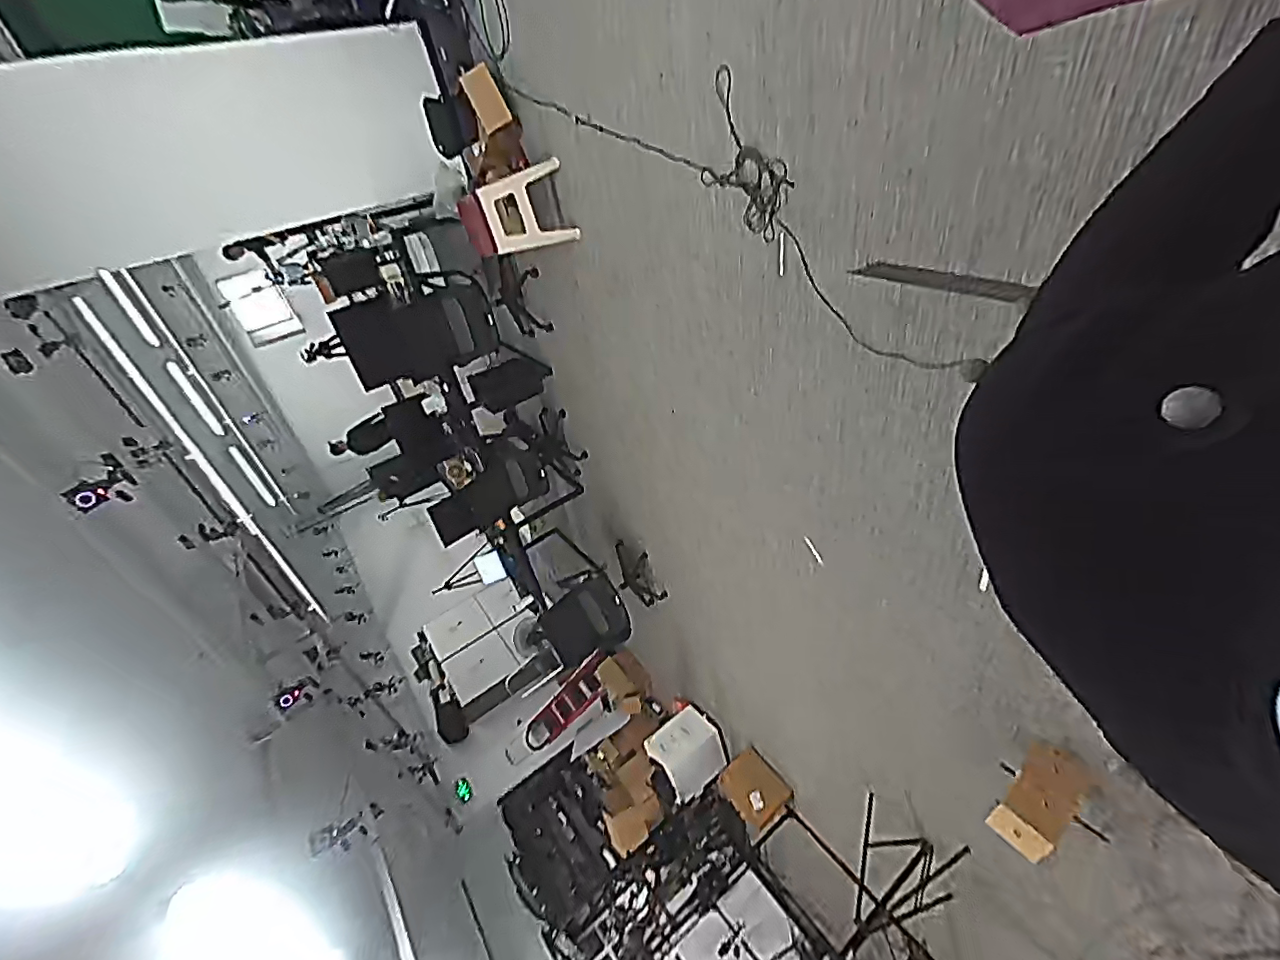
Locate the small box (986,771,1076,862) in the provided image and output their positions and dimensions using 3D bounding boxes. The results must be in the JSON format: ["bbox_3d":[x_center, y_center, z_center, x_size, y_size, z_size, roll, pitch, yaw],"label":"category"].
[{"bbox_3d":[1.316,1.129,1.819,0.168,0.176,0.179,38,147,40],"label":"small box"}]

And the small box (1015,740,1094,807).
[{"bbox_3d":[1.442,1.056,1.892,0.168,0.176,0.179,34,146,46],"label":"small box"}]
